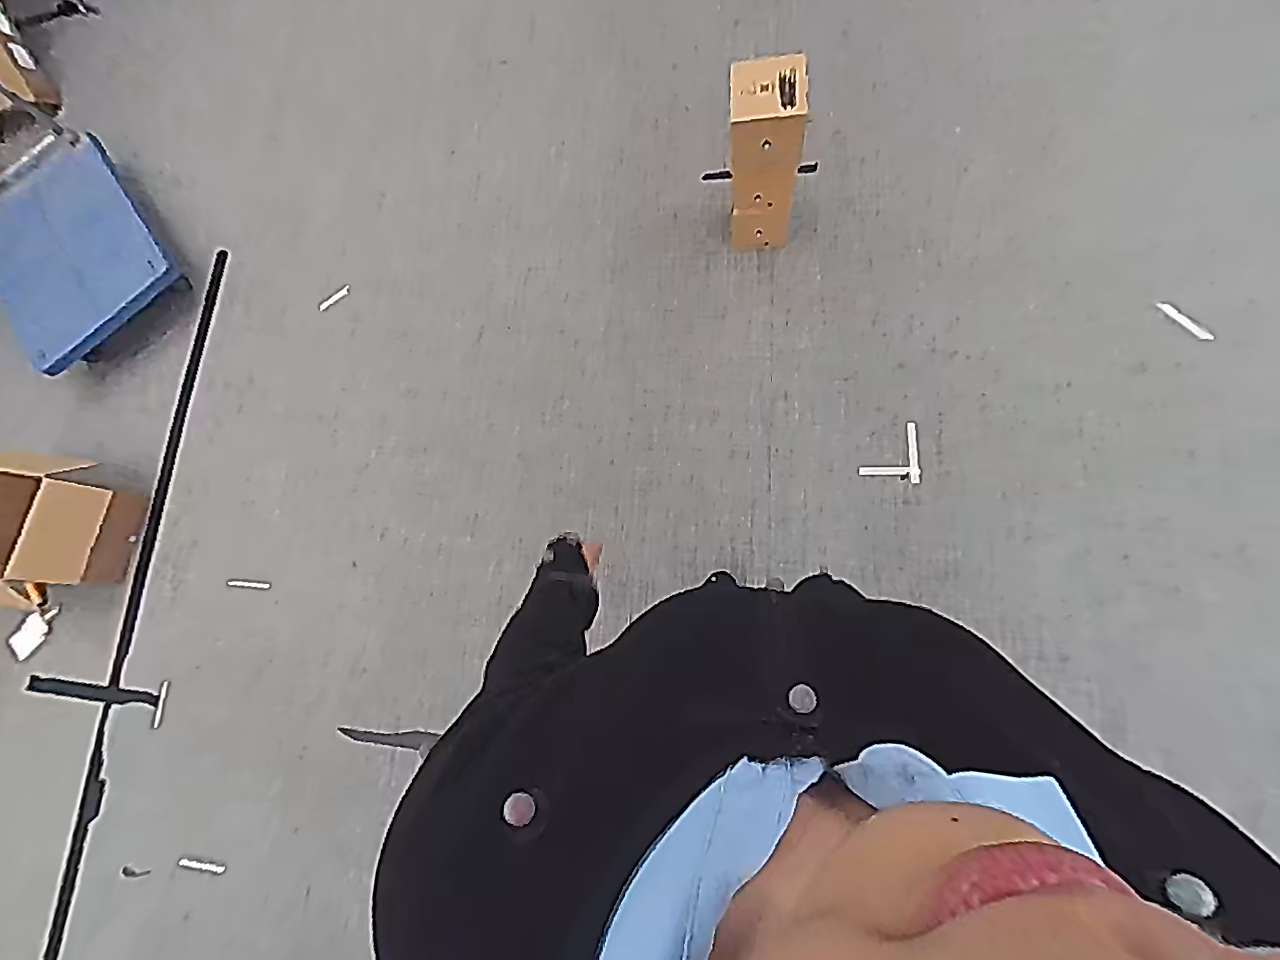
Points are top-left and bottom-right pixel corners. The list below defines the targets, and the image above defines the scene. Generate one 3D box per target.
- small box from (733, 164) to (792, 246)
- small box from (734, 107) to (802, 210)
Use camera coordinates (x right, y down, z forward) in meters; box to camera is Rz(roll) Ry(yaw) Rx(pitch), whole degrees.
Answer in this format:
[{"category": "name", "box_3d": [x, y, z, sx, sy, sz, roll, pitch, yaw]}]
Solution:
[{"category": "small box", "box_3d": [0.367, -0.830, 1.633, 0.168, 0.176, 0.179, 0, 78, 9]}, {"category": "small box", "box_3d": [0.345, -0.872, 1.477, 0.168, 0.176, 0.179, 2, 79, 10]}]
